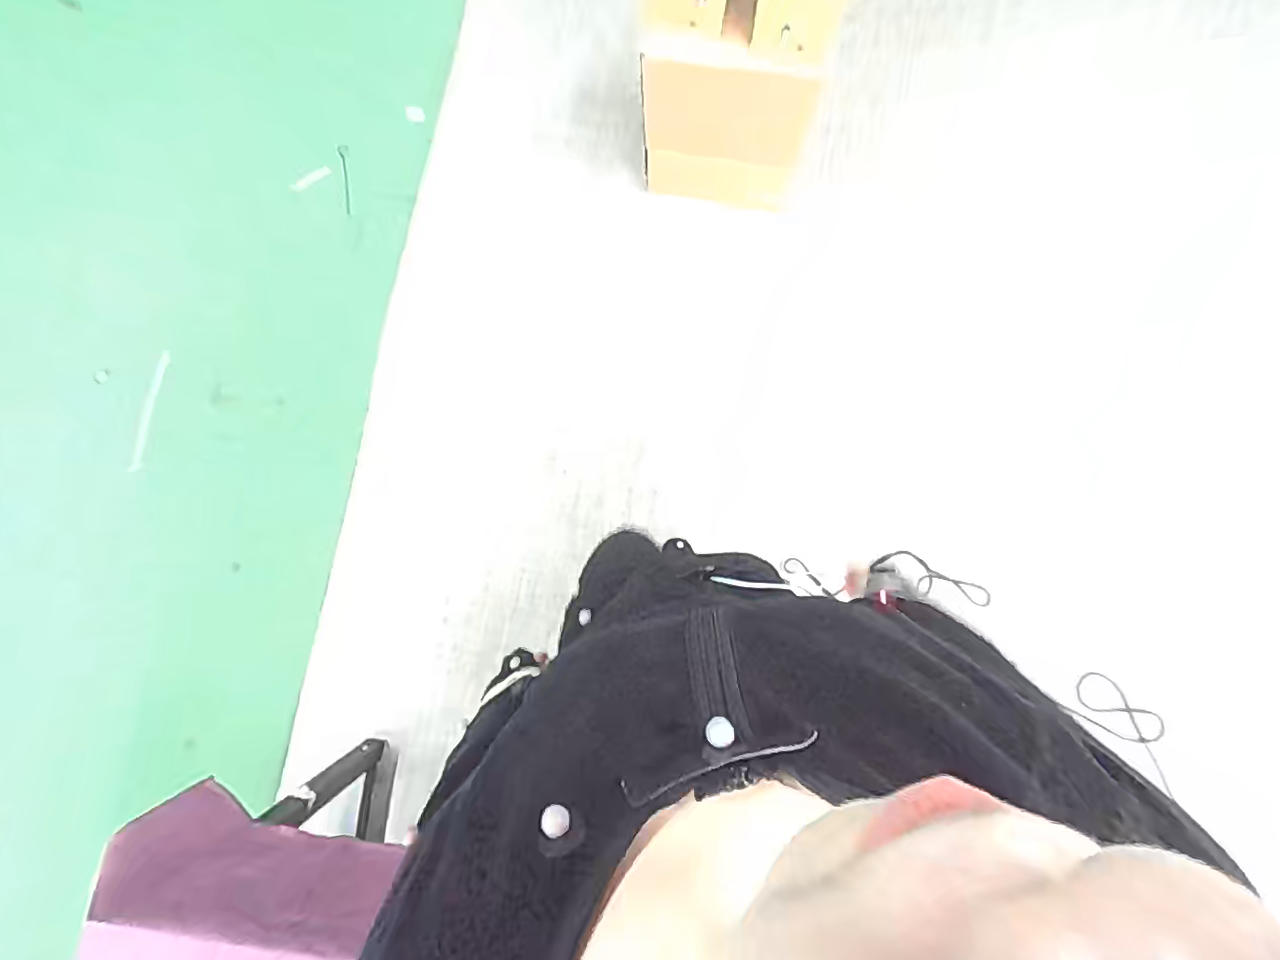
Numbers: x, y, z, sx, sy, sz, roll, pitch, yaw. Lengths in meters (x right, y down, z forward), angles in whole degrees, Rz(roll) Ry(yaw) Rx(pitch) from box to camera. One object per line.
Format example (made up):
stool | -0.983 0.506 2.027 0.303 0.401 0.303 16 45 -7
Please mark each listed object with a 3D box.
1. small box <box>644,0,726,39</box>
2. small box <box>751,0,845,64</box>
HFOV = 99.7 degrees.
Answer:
small box | 0.101 -1.041 1.083 0.168 0.176 0.179 12 85 1
small box | 0.328 -0.982 1.066 0.168 0.176 0.179 17 86 5
